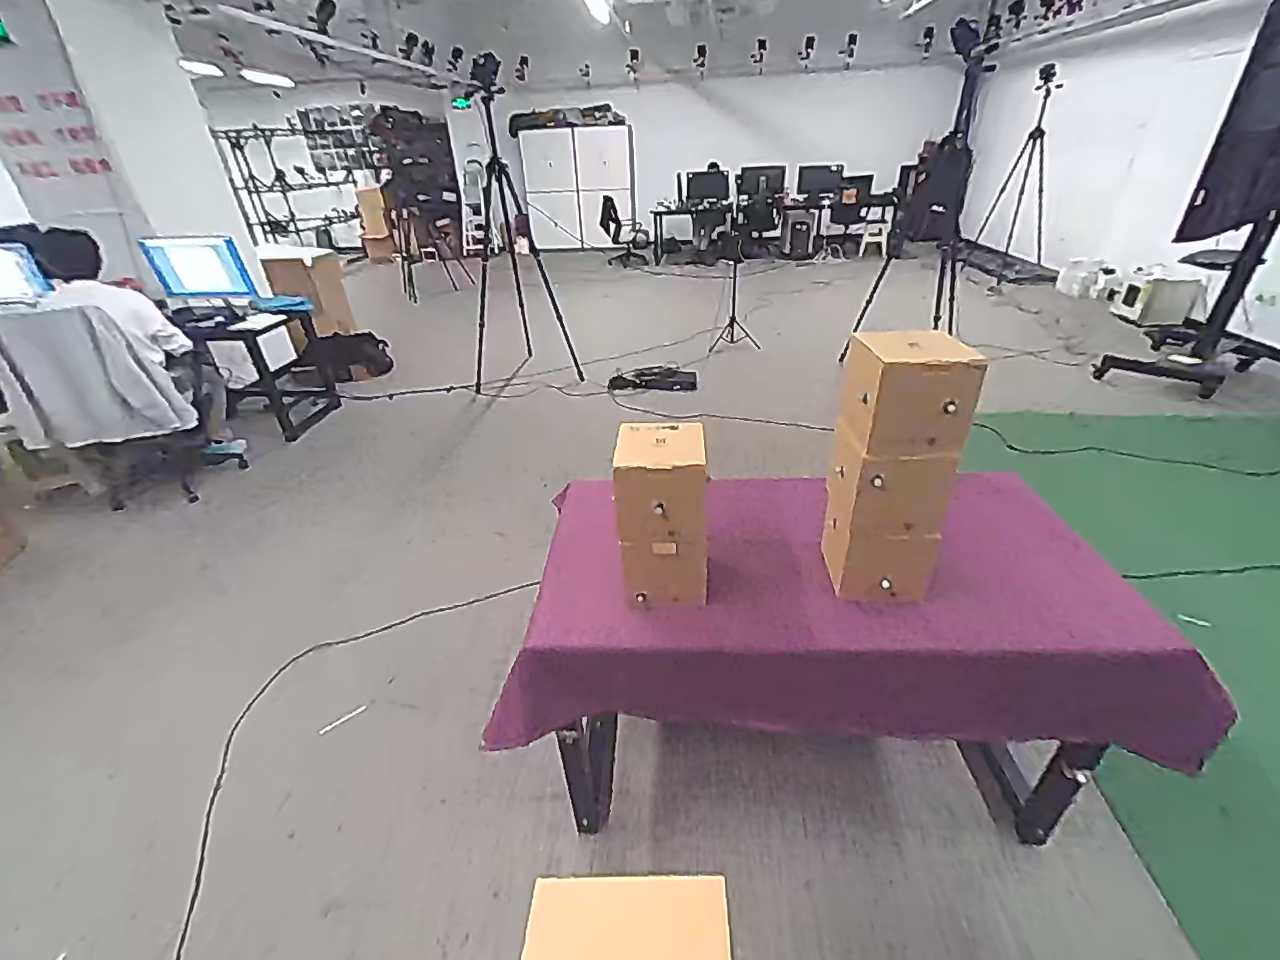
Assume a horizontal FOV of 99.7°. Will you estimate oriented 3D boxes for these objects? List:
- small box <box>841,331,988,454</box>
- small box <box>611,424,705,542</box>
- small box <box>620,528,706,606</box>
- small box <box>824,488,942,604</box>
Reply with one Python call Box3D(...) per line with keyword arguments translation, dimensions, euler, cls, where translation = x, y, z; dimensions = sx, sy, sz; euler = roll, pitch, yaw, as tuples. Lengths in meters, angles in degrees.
Box3D(translation=(0.467, -0.153, 0.949), dimensions=(0.168, 0.176, 0.179), euler=(-1, 30, 3), cls="small box")
Box3D(translation=(0.041, 0.006, 1.045), dimensions=(0.168, 0.176, 0.179), euler=(0, 32, 4), cls="small box")
Box3D(translation=(0.052, 0.147, 1.129), dimensions=(0.168, 0.176, 0.179), euler=(-1, 30, 3), cls="small box")
Box3D(translation=(0.485, 0.131, 1.111), dimensions=(0.168, 0.176, 0.179), euler=(0, 32, 6), cls="small box")
